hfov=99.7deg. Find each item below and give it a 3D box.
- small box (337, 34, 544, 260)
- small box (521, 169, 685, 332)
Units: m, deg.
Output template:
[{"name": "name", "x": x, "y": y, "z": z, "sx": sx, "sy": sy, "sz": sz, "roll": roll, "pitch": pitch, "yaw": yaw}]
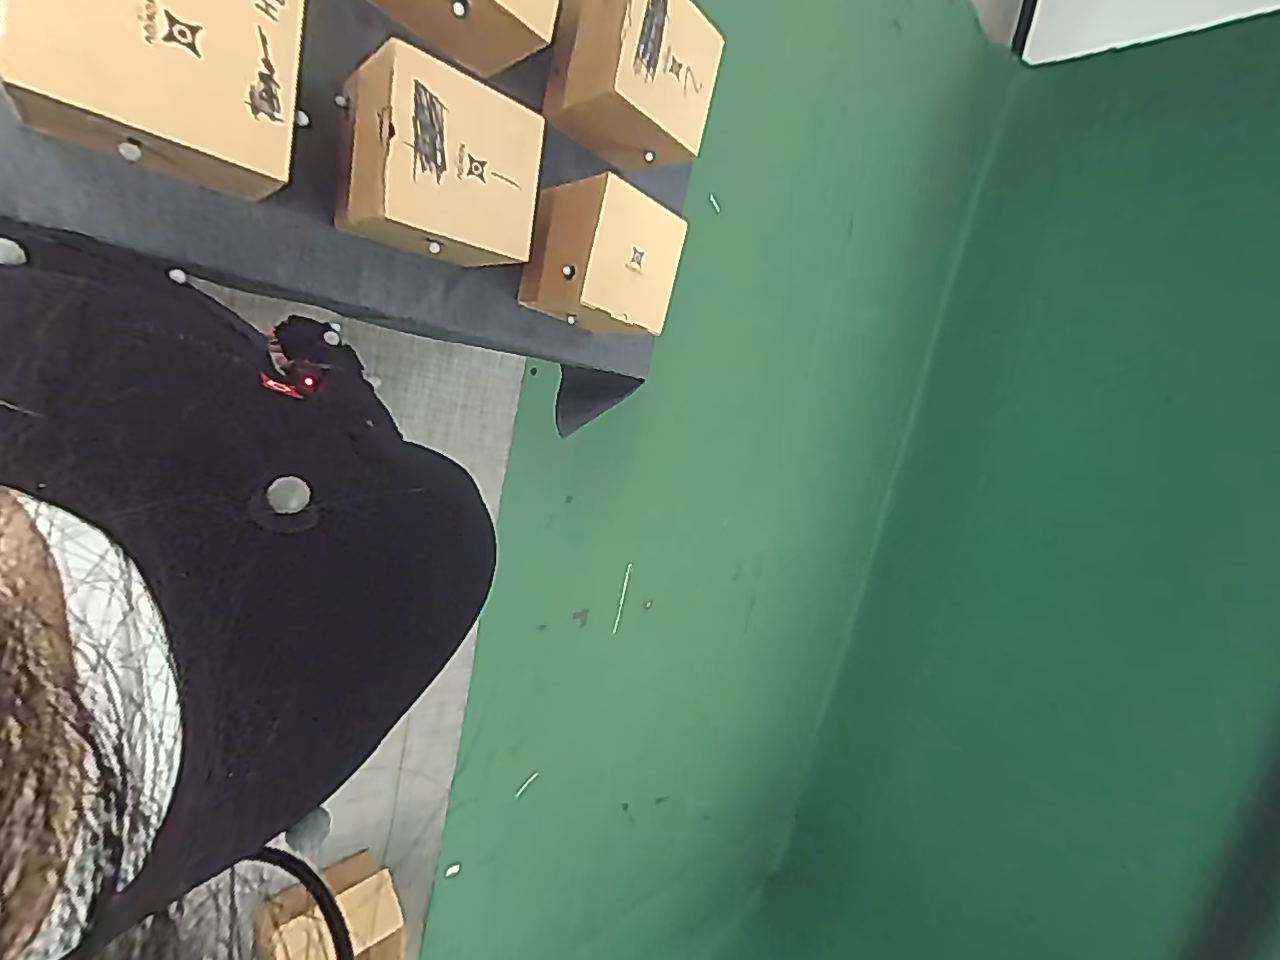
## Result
[{"name": "small box", "x": -0.240, "y": -0.366, "z": 0.640, "sx": 0.179, "sy": 0.176, "sz": 0.168, "roll": -2, "pitch": 106, "yaw": -45}, {"name": "small box", "x": -0.062, "y": -0.339, "z": 0.830, "sx": 0.168, "sy": 0.176, "sz": 0.179, "roll": 7, "pitch": 99, "yaw": -46}]
